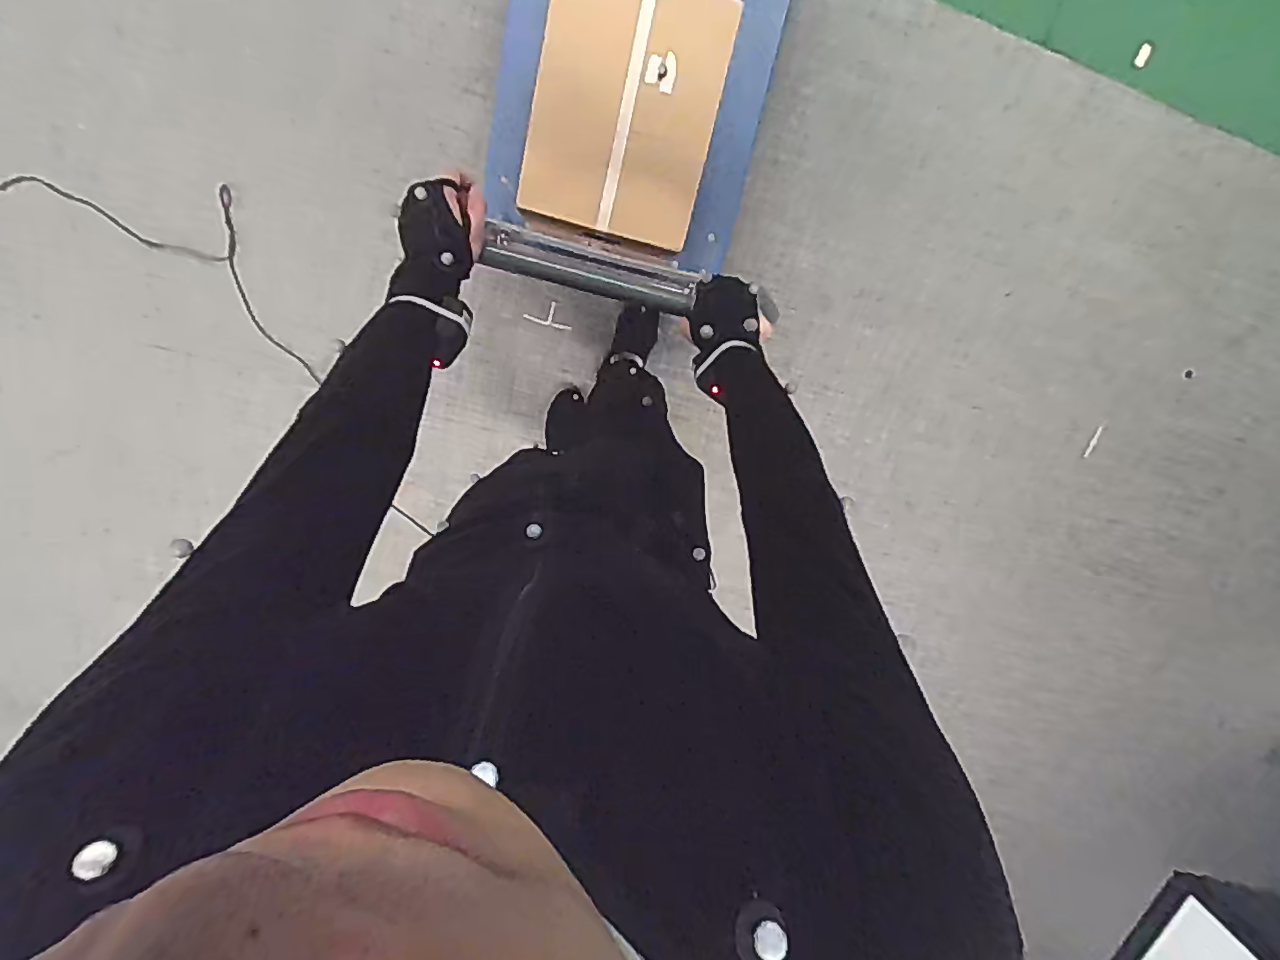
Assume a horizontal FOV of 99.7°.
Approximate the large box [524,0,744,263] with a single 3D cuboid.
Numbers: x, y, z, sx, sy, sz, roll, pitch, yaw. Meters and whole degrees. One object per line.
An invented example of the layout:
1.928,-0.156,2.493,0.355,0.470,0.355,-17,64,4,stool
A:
-0.026,-0.686,1.073,0.320,0.320,0.408,12,105,-8,large box
